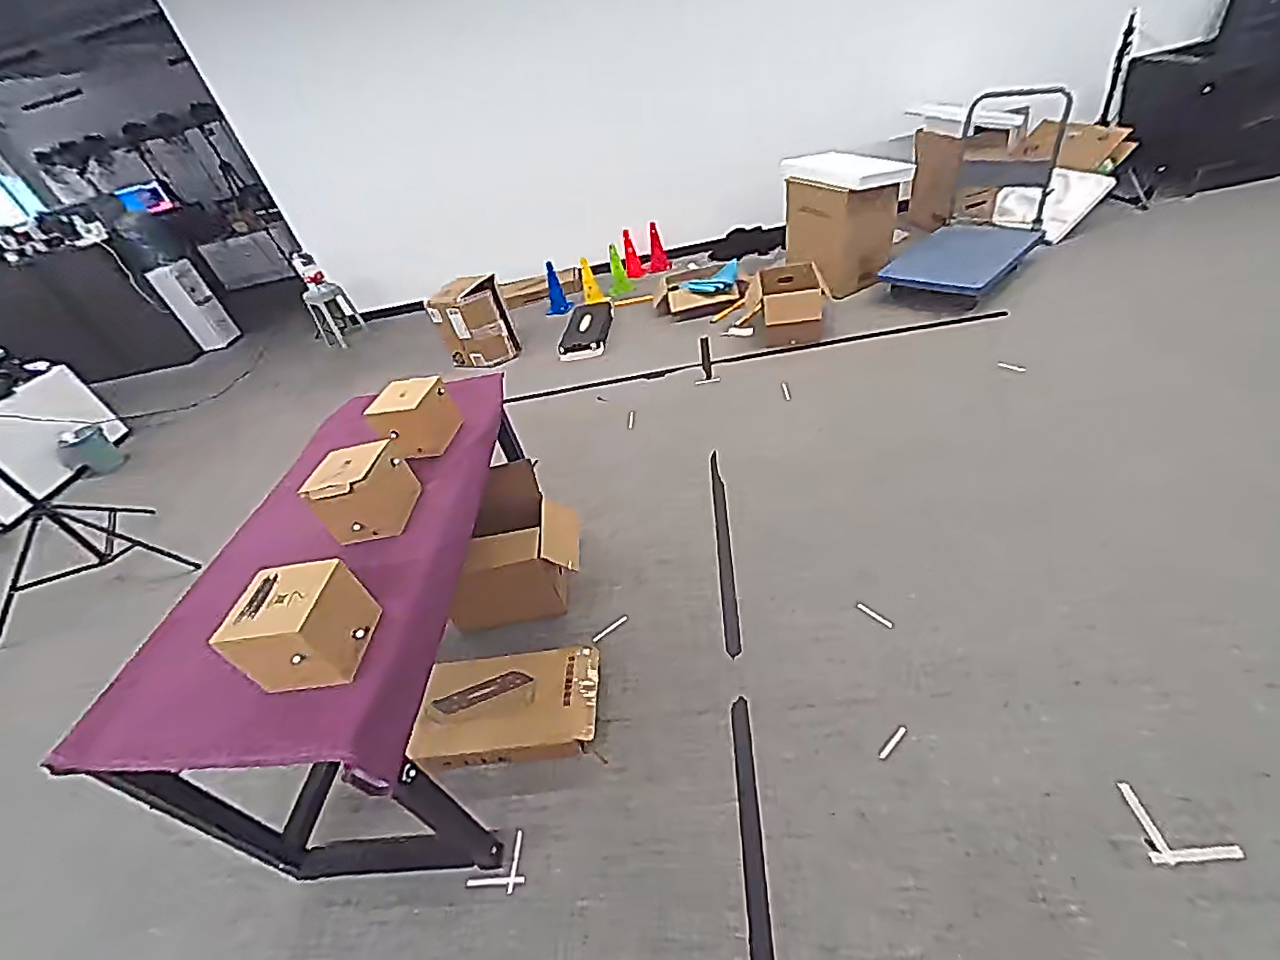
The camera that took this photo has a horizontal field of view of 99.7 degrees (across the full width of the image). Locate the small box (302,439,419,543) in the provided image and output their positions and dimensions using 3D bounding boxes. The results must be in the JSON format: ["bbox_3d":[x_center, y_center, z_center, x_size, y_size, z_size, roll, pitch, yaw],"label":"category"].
[{"bbox_3d":[-0.670,0.027,1.326,0.168,0.176,0.179,-11,39,9],"label":"small box"}]

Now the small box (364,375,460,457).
[{"bbox_3d":[-0.648,-0.179,1.568,0.168,0.176,0.179,-5,40,13],"label":"small box"}]
